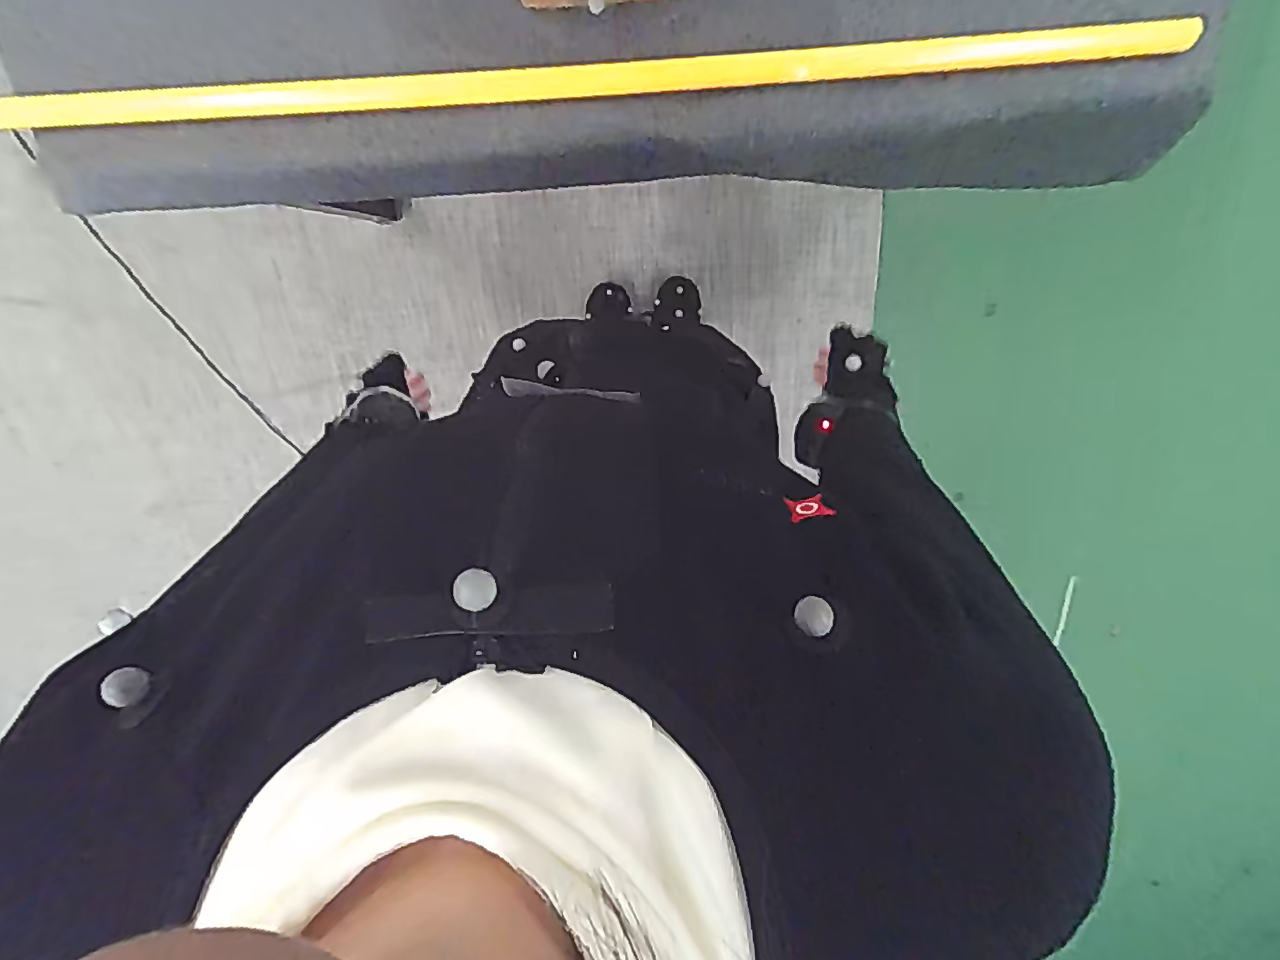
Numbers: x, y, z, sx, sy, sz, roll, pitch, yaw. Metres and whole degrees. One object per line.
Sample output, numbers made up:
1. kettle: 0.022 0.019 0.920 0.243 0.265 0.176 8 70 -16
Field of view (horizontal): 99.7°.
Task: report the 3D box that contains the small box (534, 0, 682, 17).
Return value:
1. small box: -0.034 -0.515 0.427 0.168 0.176 0.179 -4 111 3
